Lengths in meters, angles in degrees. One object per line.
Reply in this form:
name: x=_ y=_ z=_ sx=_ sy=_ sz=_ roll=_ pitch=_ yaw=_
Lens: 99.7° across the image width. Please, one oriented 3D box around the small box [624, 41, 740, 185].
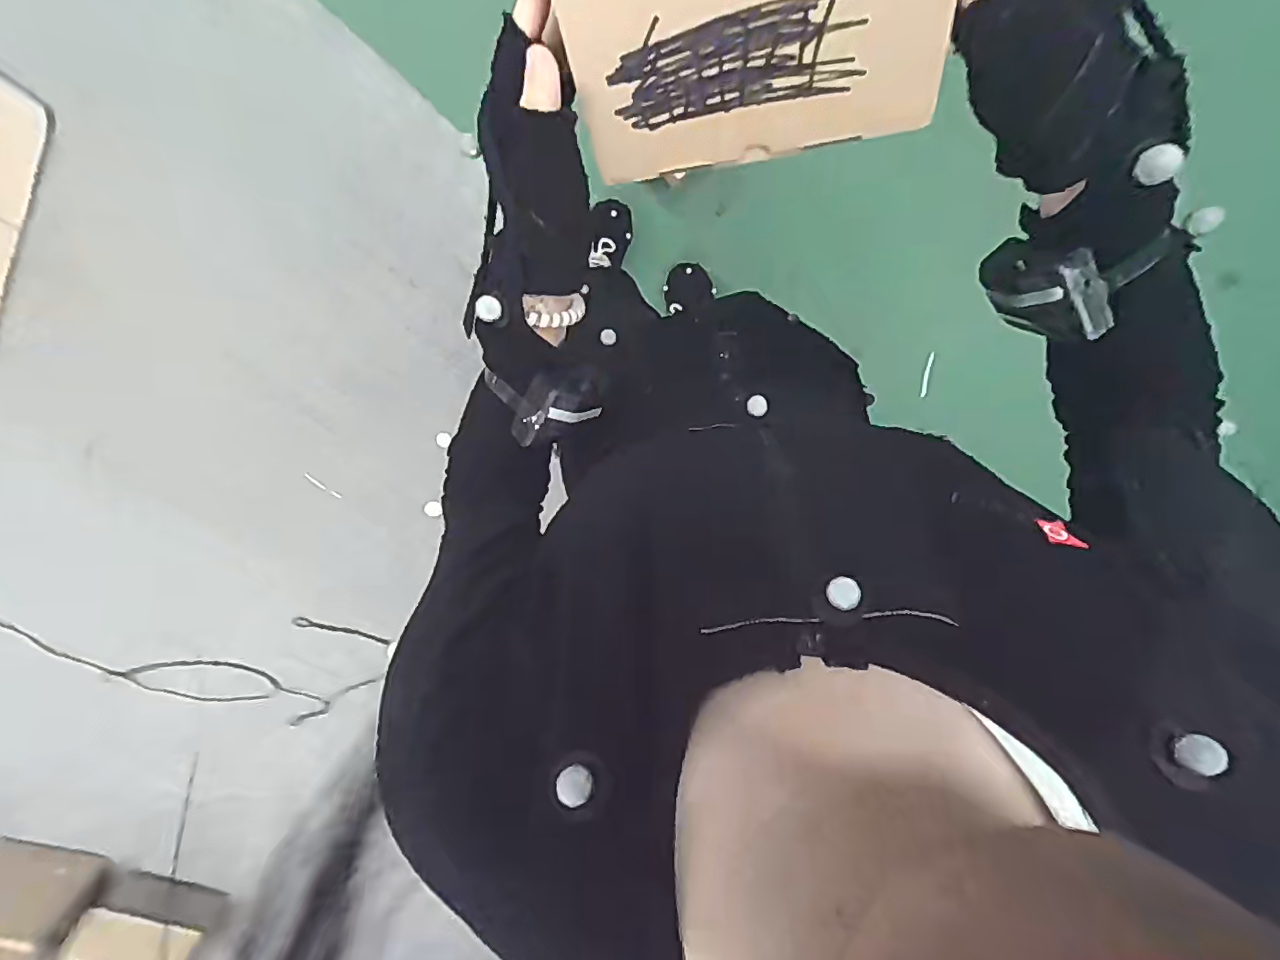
small box: x=0.081 y=-0.752 z=1.136 sx=0.168 sy=0.176 sz=0.179 roll=-40 pitch=109 yaw=15
